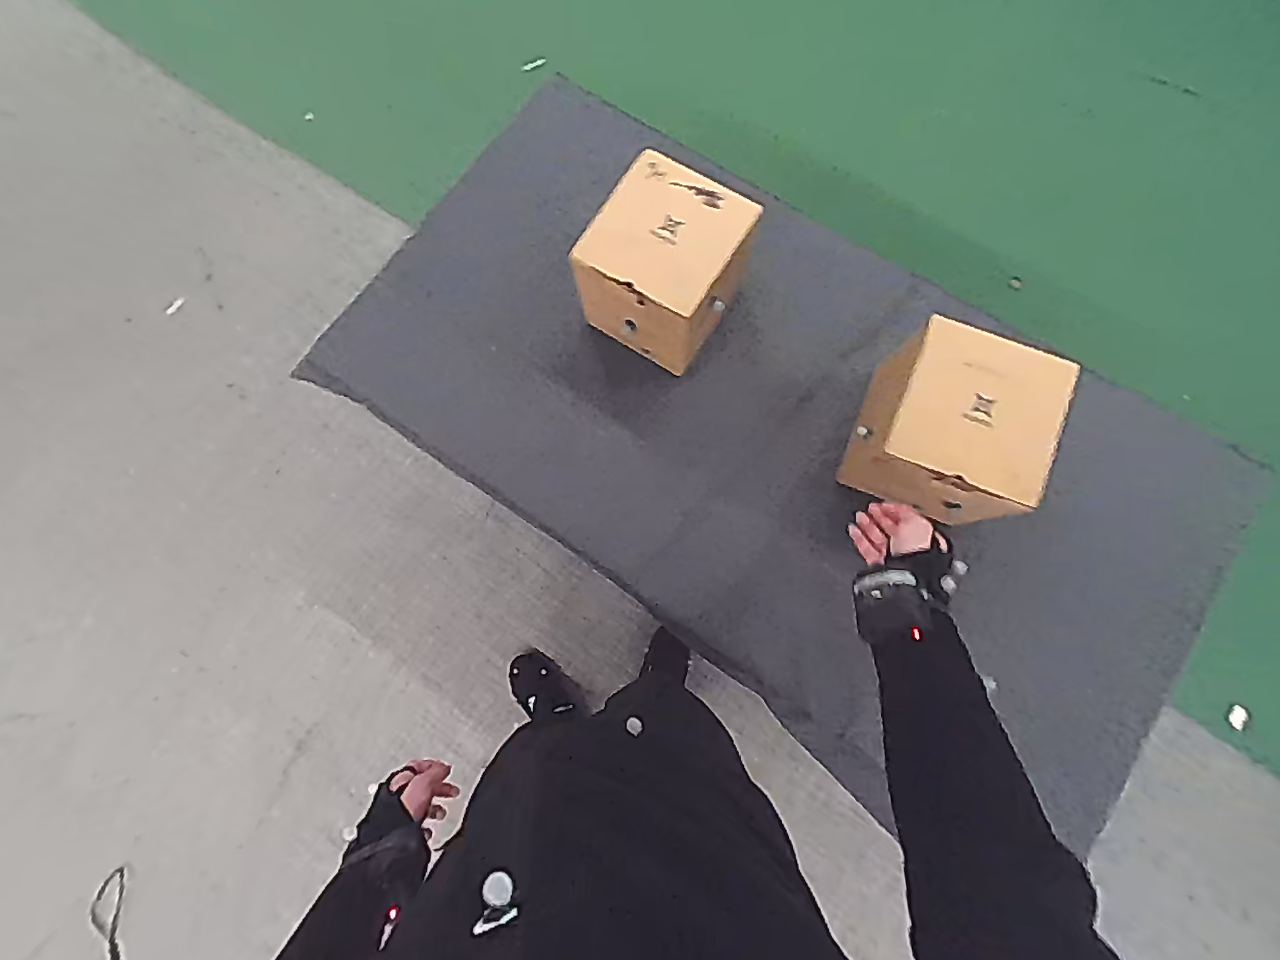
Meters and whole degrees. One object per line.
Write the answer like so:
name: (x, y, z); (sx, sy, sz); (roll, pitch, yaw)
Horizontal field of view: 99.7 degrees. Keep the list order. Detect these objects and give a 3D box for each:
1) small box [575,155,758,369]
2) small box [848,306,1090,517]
small box: (0.038, -0.279, 0.728); (0.168, 0.176, 0.179); (28, 80, 9)
small box: (0.375, -0.067, 0.651); (0.168, 0.176, 0.179); (23, 80, 3)
